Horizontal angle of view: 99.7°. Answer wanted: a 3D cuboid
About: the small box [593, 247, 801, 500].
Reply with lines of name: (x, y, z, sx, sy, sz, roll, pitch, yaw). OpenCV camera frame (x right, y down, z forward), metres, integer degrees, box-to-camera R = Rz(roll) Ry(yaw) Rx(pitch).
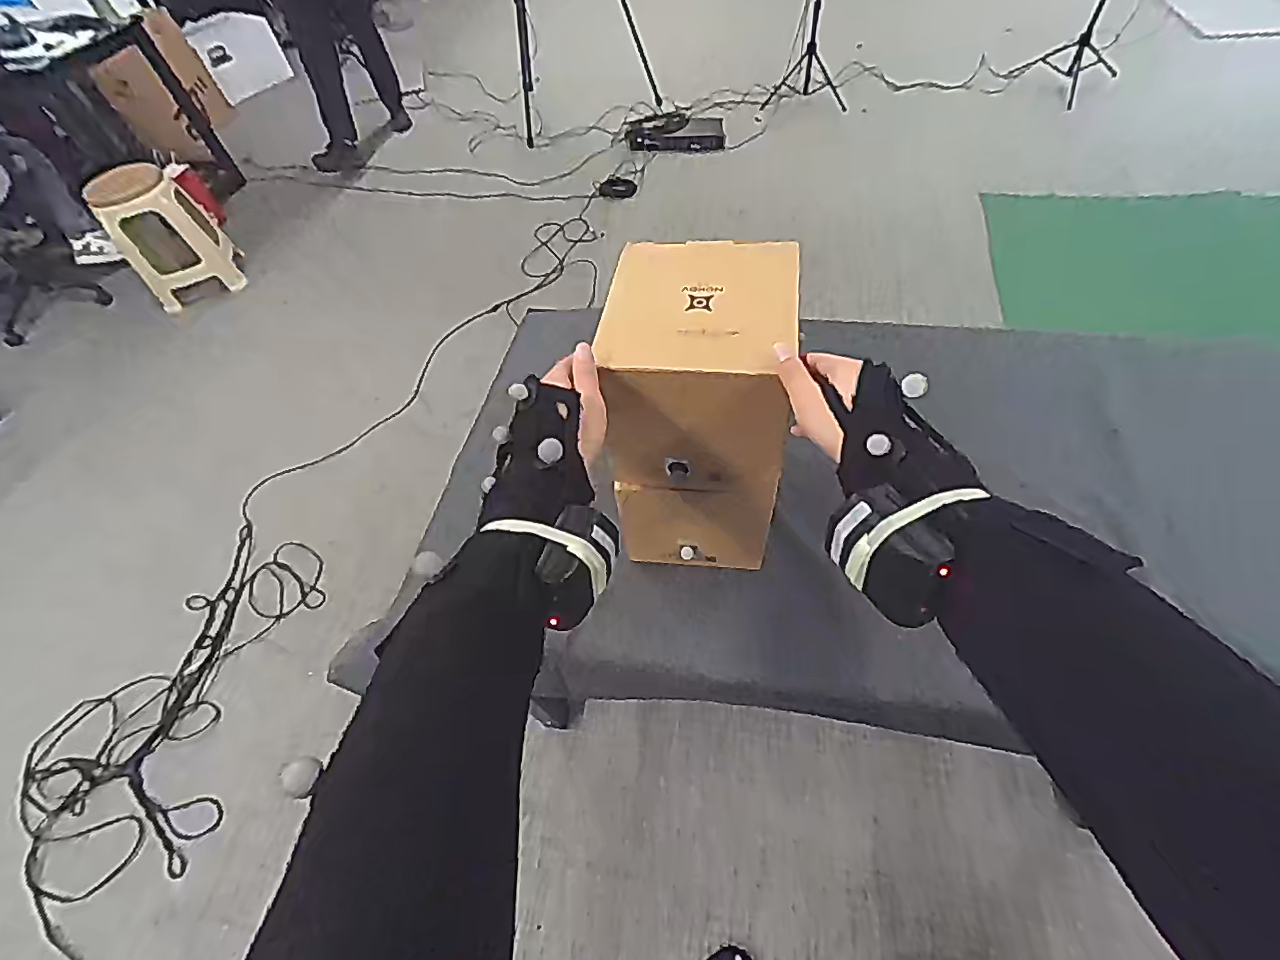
small box: (0.062, -0.103, 0.529, 0.168, 0.176, 0.179, 4, 55, 11)

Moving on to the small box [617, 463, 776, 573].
small box: (0.072, -0.007, 0.659, 0.168, 0.176, 0.179, 3, 55, 9)
